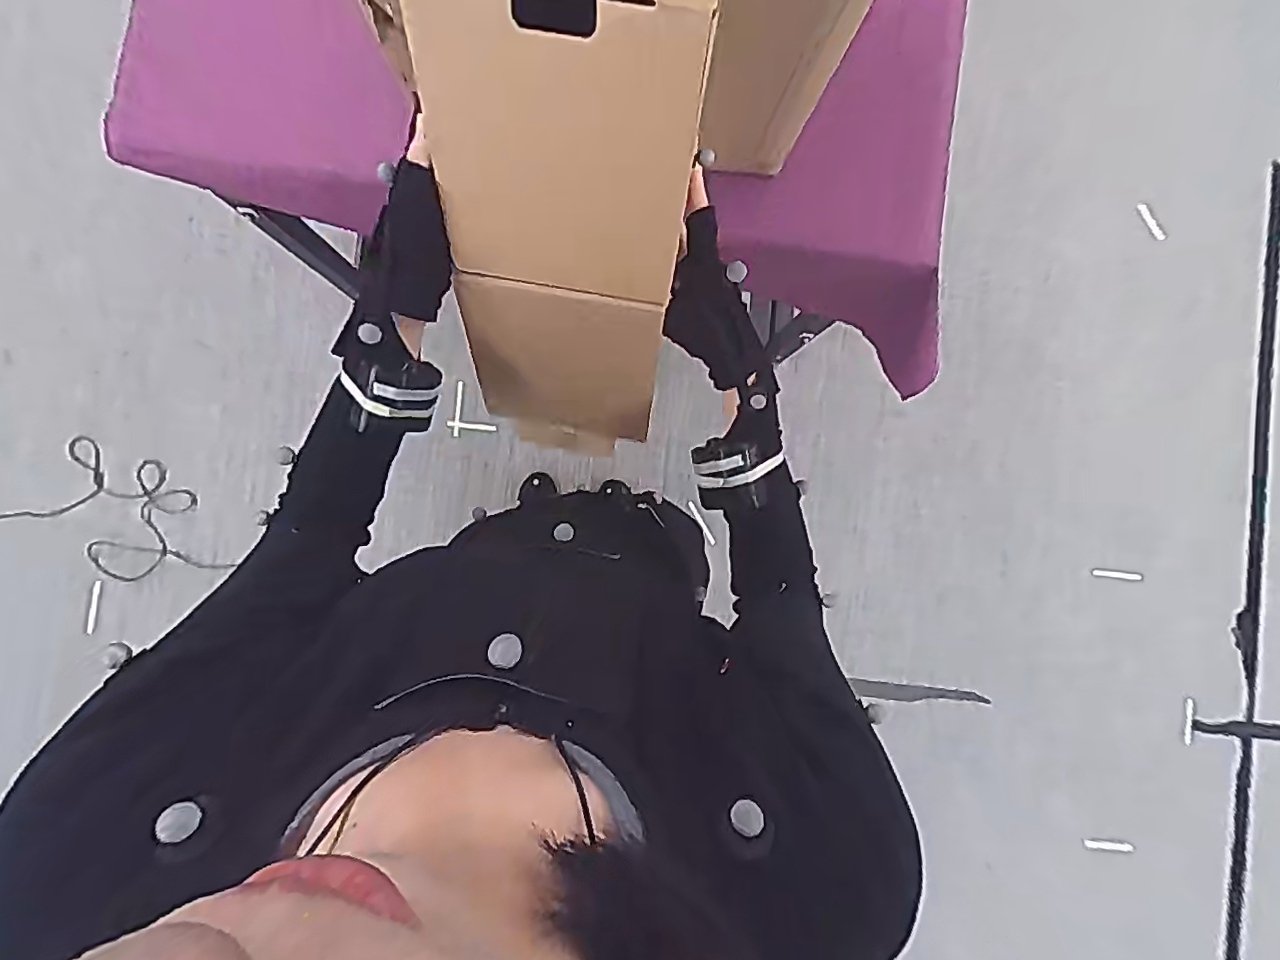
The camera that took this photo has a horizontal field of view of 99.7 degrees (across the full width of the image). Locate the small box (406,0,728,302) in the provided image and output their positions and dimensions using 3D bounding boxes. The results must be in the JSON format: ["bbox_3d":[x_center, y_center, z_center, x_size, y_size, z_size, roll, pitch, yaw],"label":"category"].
[{"bbox_3d":[-0.038,-0.257,0.377,0.168,0.179,0.176,9,52,0],"label":"small box"}]
